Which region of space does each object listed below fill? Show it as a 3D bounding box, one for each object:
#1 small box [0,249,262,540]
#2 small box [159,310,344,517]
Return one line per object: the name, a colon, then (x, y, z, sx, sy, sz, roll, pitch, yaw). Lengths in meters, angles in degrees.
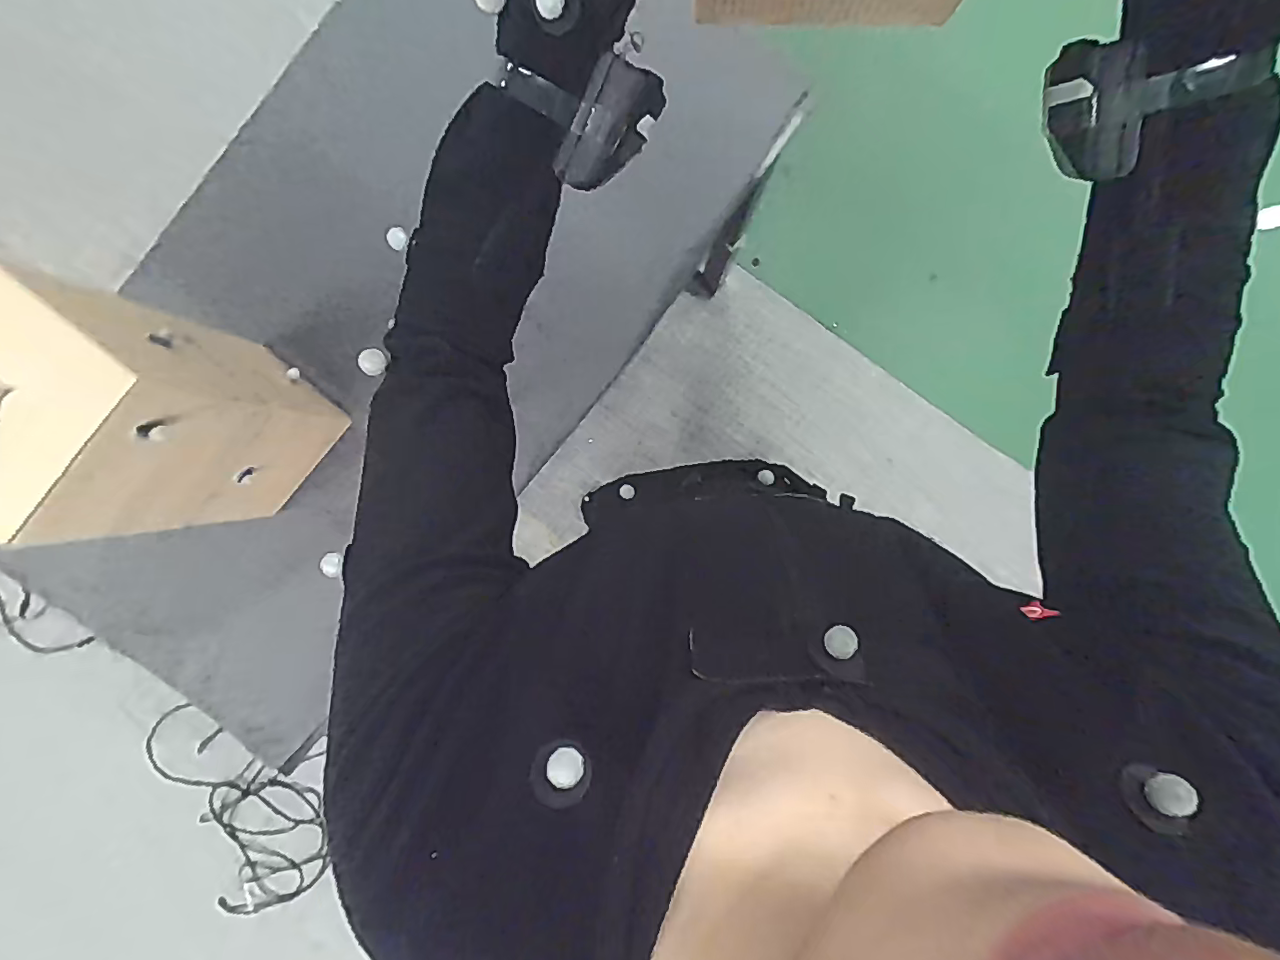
small box: (-0.505, -0.069, 0.504, 0.168, 0.176, 0.179, 38, 90, 0)
small box: (-0.515, -0.070, 0.669, 0.168, 0.176, 0.179, 40, 89, -1)
